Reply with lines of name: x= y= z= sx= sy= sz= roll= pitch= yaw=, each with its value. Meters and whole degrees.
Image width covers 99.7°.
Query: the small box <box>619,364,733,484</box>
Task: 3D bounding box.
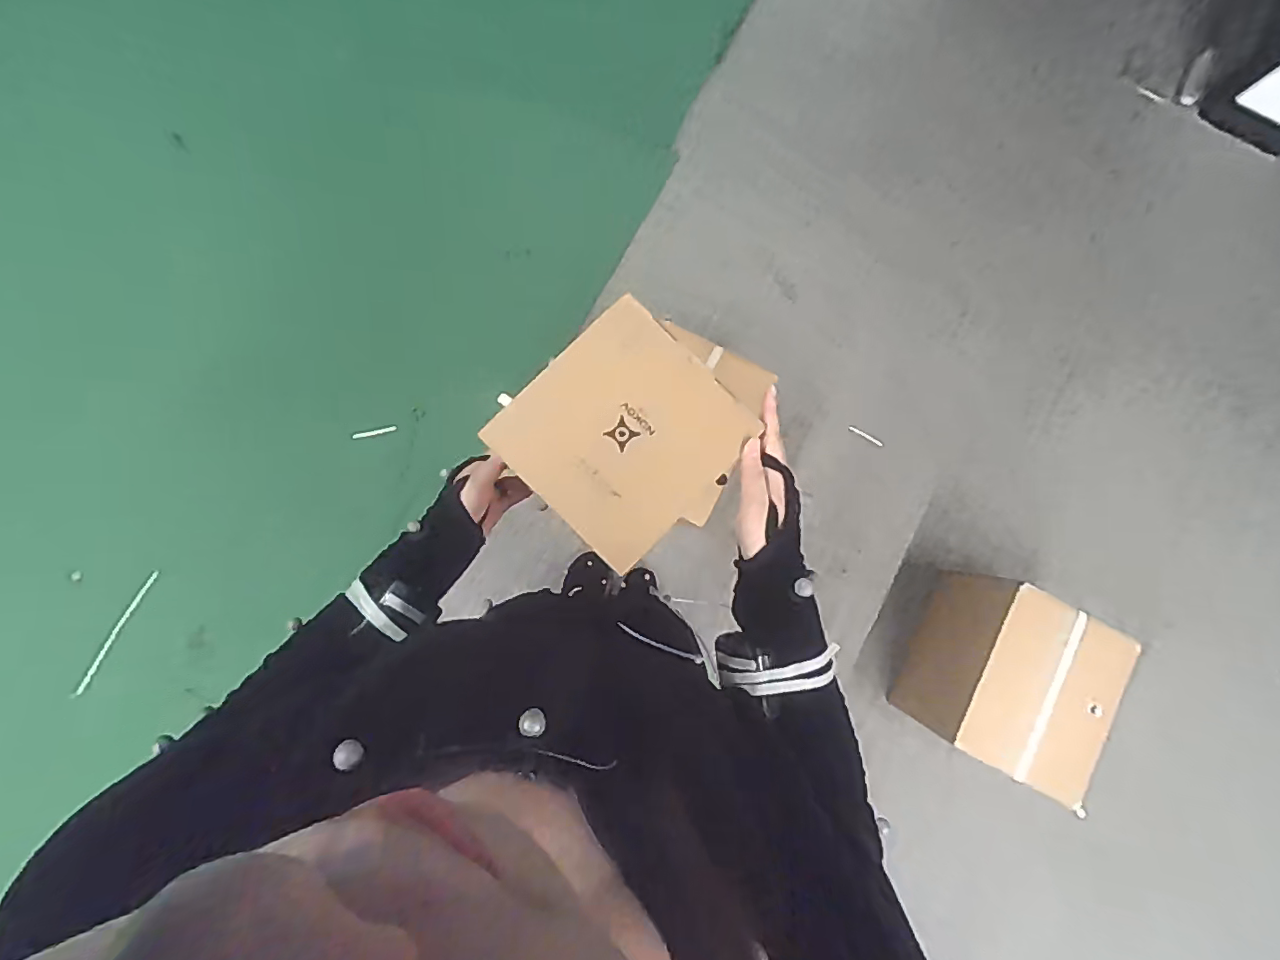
small box: x=0.069 y=-0.110 z=1.148 sx=0.168 sy=0.176 sz=0.179 roll=39 pitch=85 yaw=3

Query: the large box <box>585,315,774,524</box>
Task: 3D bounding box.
large box: x=0.090 y=-0.131 z=1.396 sx=0.320 sy=0.320 sz=0.408 roll=28 pitch=84 yaw=0
